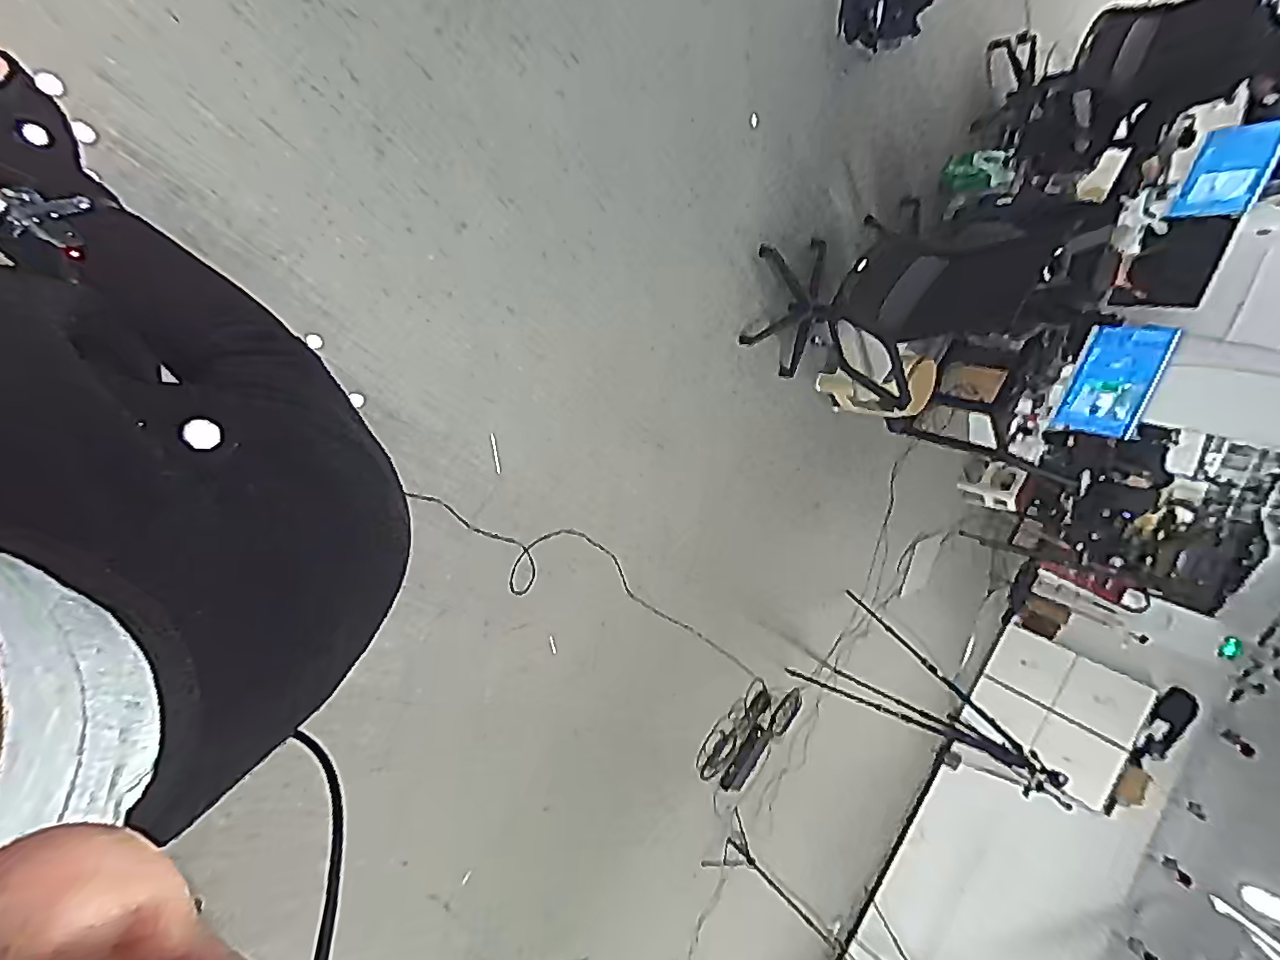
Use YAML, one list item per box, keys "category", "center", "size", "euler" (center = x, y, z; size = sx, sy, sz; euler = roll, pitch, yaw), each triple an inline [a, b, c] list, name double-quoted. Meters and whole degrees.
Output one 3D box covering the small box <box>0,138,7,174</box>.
- category: "small box"
  center: [-0.654, -0.367, 0.420]
  size: [0.168, 0.176, 0.179]
  euler: [-18, 96, -40]
